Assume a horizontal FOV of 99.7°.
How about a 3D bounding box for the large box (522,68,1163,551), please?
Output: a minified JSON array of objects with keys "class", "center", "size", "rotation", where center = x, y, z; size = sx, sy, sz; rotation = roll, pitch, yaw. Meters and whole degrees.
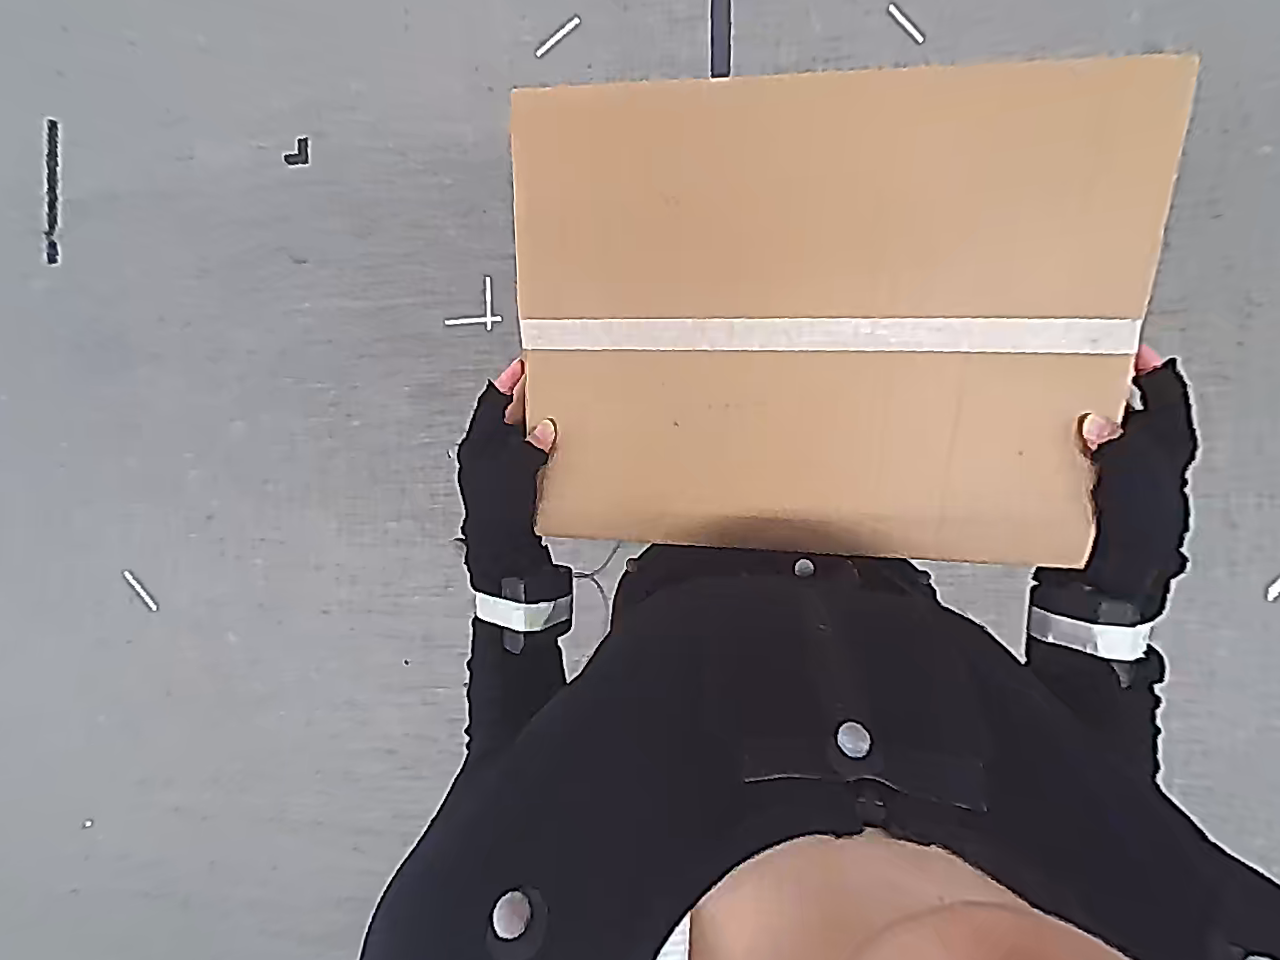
[{"class":"large box","center":[0.133,-0.137,0.524],"size":[0.408,0.320,0.320],"rotation":[3,105,8]}]
